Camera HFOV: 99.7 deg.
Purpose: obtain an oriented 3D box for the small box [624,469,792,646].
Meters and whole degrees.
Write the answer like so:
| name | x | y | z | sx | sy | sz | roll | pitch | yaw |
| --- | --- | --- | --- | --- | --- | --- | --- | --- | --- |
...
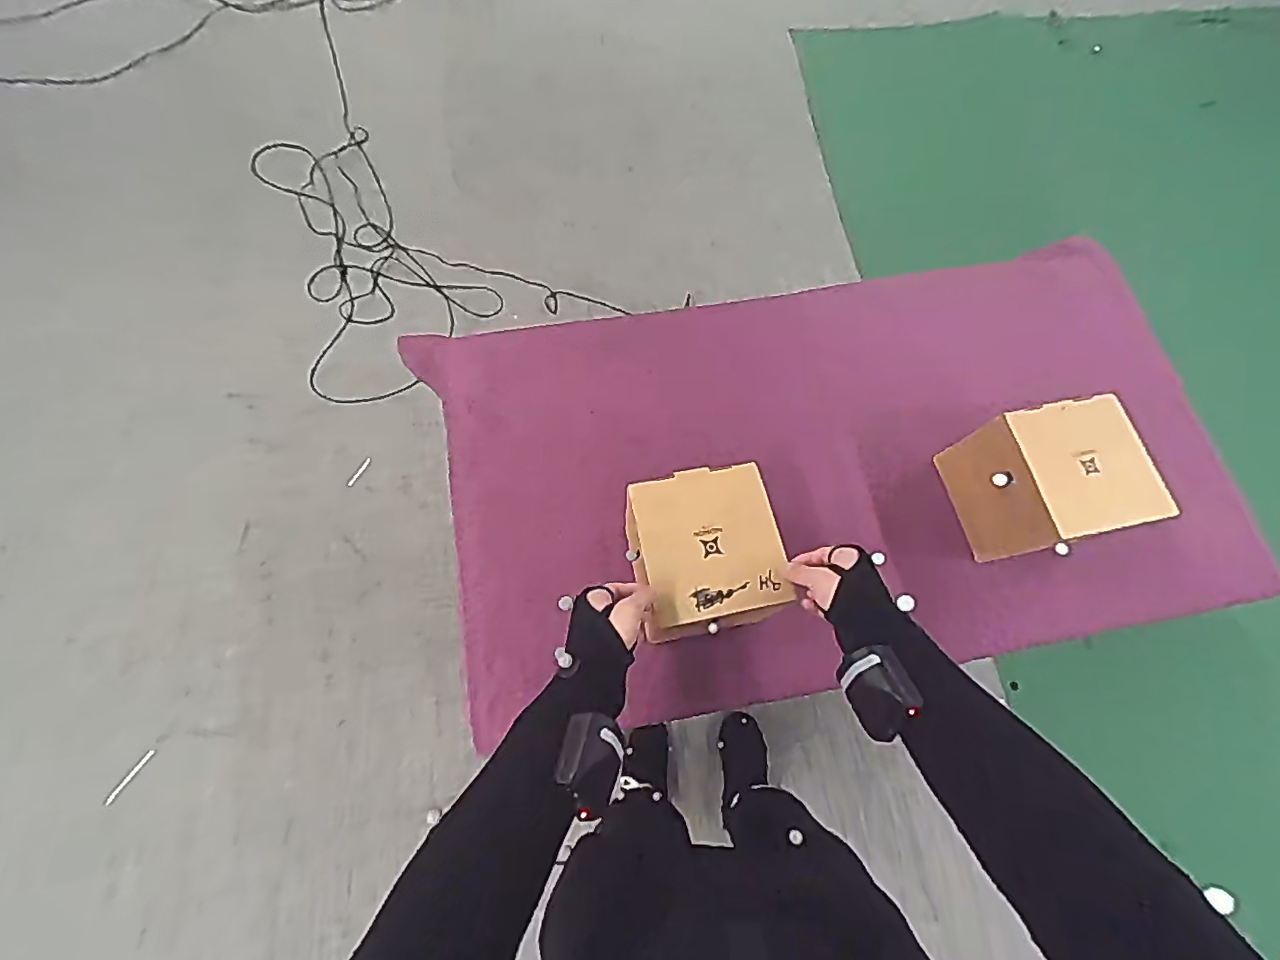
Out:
| name | x | y | z | sx | sy | sz | roll | pitch | yaw |
| --- | --- | --- | --- | --- | --- | --- | --- | --- | --- |
| small box | 0.073 | 0.107 | 0.706 | 0.168 | 0.176 | 0.179 | -10 | 69 | -6 |

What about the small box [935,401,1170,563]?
| name | x | y | z | sx | sy | sz | roll | pitch | yaw |
| --- | --- | --- | --- | --- | --- | --- | --- | --- | --- |
| small box | 0.561 | 0.014 | 0.765 | 0.168 | 0.176 | 0.179 | -10 | 71 | -5 |
